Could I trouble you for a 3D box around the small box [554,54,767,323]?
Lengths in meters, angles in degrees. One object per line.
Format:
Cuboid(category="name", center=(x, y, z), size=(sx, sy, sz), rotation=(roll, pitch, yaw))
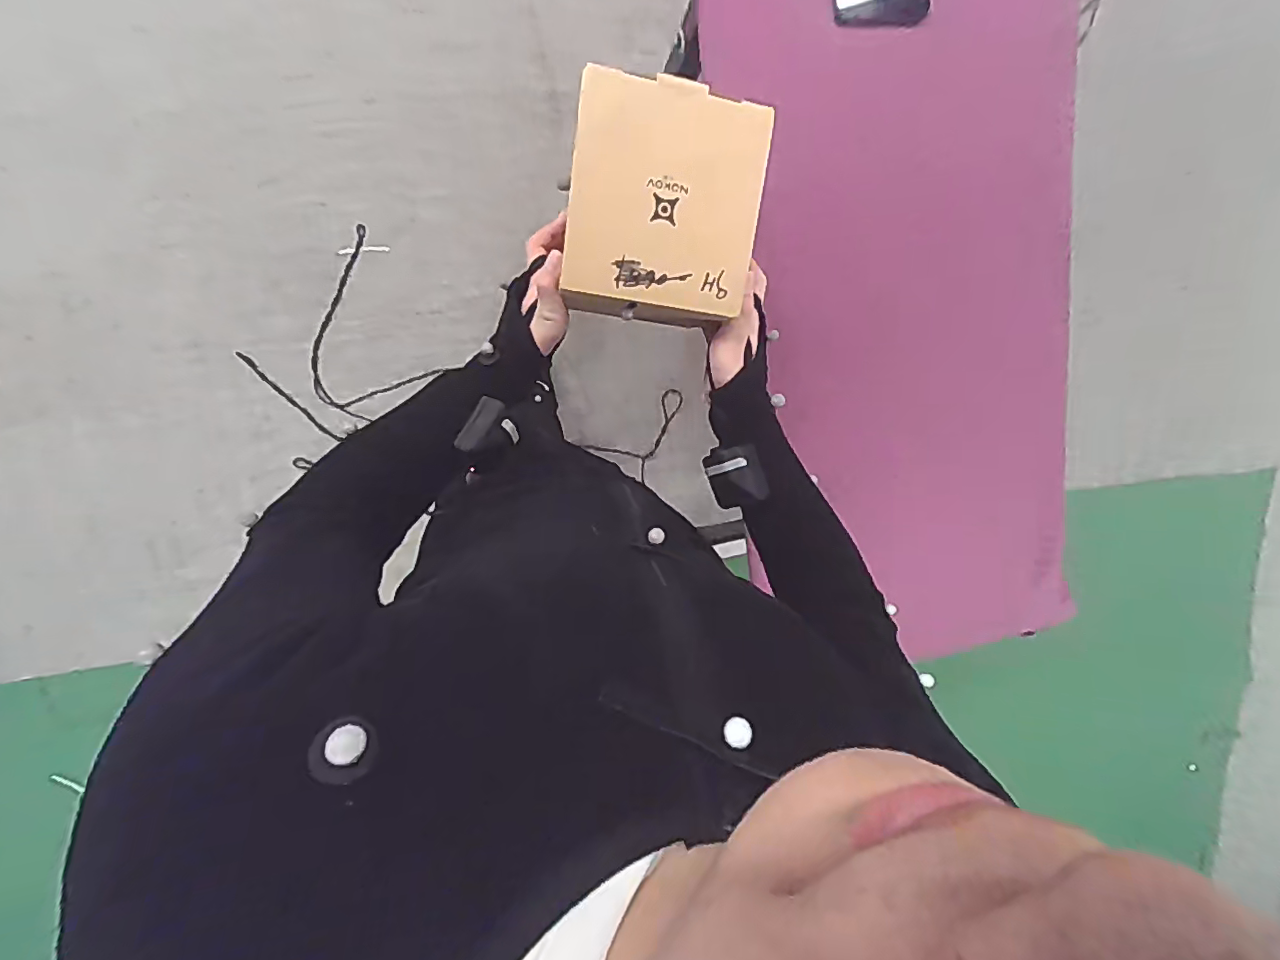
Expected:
Cuboid(category="small box", center=(0.005, -0.260, 0.533), size=(0.168, 0.176, 0.179), rotation=(6, 101, -9))
